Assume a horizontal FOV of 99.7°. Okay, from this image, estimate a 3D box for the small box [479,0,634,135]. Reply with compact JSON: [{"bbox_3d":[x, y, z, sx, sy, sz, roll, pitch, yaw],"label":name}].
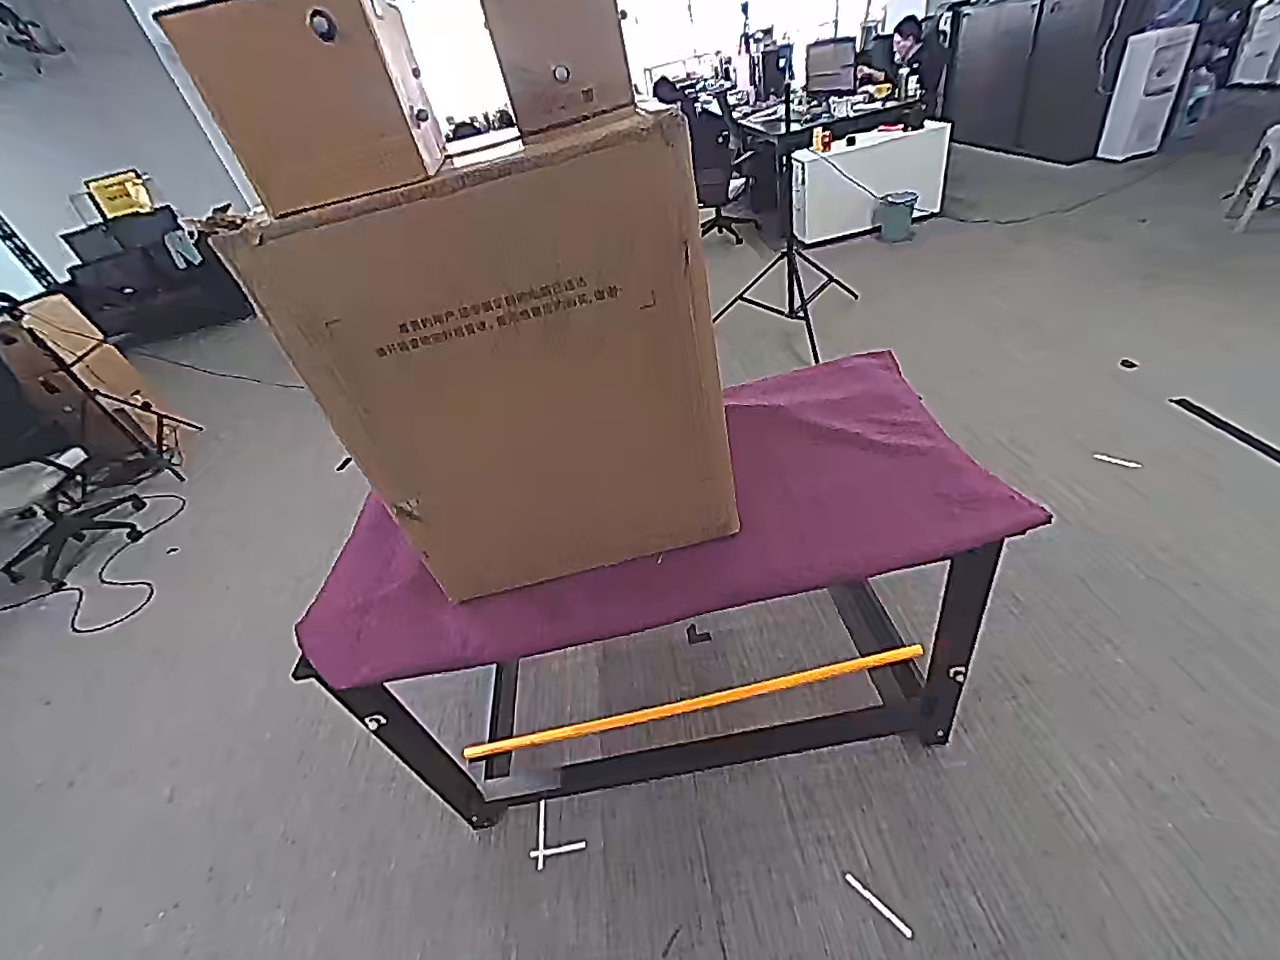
[{"bbox_3d":[-0.110,-0.595,0.748,0.168,0.176,0.179,-13,38,4],"label":"small box"}]
